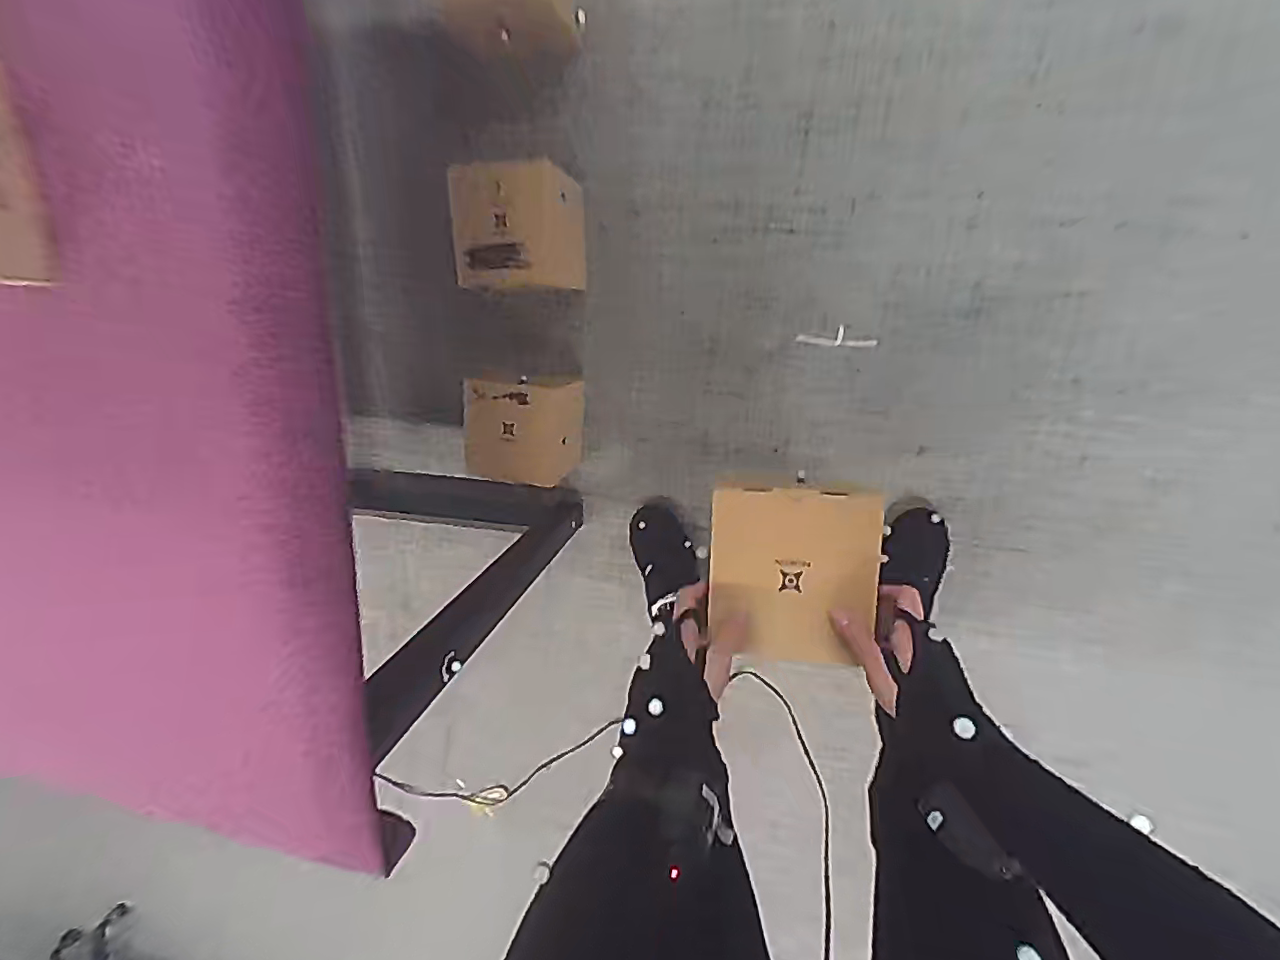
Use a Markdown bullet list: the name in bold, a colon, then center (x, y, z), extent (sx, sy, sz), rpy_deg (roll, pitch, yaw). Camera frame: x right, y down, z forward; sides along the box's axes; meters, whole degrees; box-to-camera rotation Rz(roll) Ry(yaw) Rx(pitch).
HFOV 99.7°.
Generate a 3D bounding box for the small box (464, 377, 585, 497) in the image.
- **small box**: center (-0.207, -0.087, 0.999), extent (0.168, 0.176, 0.179), rpy_deg (8, 108, 11)
